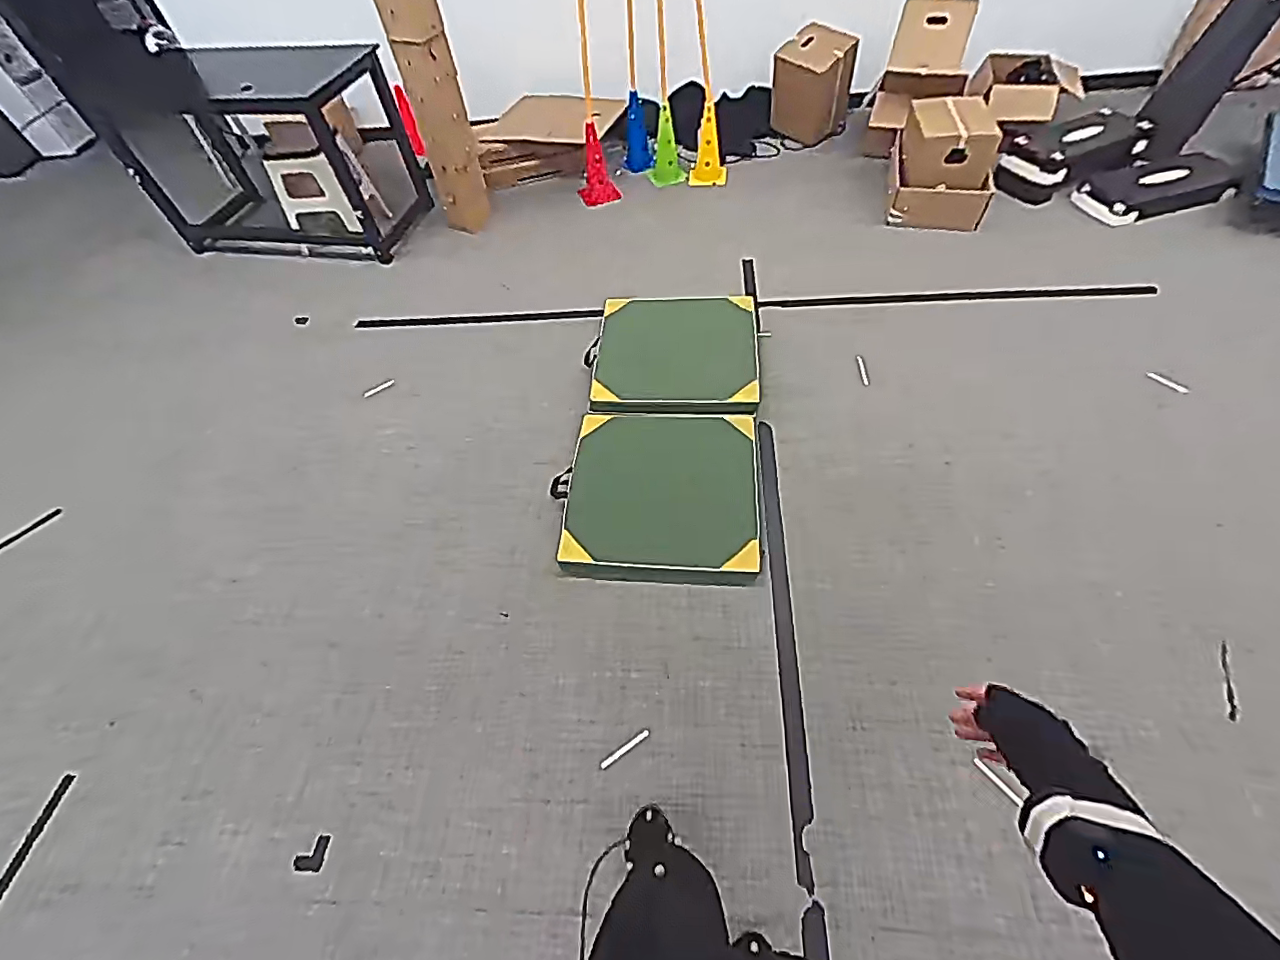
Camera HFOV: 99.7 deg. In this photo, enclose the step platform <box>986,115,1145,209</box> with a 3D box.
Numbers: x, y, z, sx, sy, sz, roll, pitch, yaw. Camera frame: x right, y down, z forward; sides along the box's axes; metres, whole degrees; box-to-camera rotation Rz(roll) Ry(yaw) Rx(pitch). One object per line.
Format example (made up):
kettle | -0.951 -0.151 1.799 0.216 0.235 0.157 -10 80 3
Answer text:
step platform | 2.078 -1.561 2.643 0.684 0.204 0.286 -24 56 -11
